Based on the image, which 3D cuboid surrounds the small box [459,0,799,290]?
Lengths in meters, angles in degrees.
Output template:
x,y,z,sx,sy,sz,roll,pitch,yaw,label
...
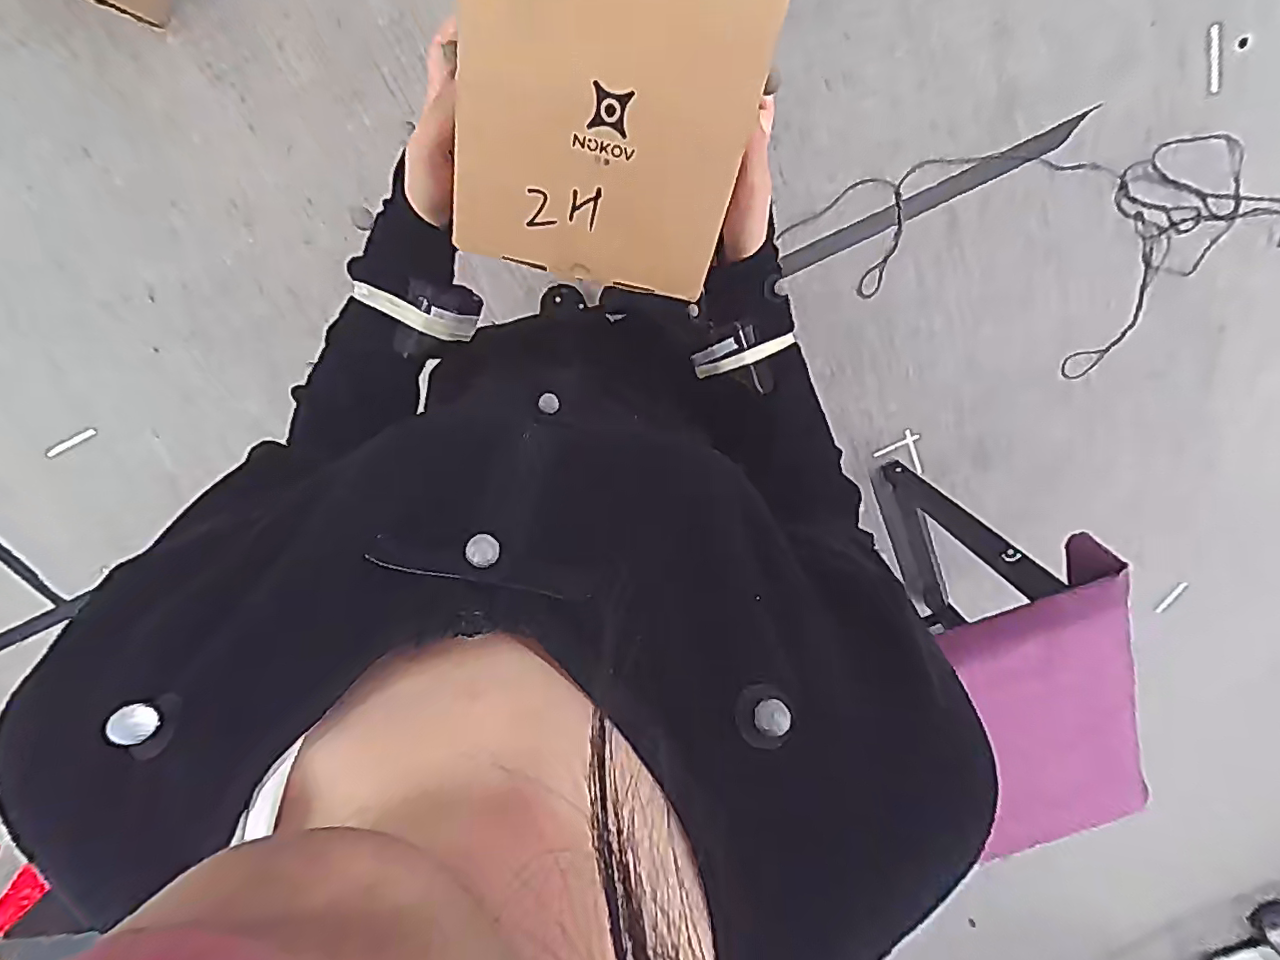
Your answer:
x,y,z,sx,sy,sz,roll,pitch,yaw,label
-0.019,-0.258,0.365,0.168,0.176,0.179,9,127,-11,small box
